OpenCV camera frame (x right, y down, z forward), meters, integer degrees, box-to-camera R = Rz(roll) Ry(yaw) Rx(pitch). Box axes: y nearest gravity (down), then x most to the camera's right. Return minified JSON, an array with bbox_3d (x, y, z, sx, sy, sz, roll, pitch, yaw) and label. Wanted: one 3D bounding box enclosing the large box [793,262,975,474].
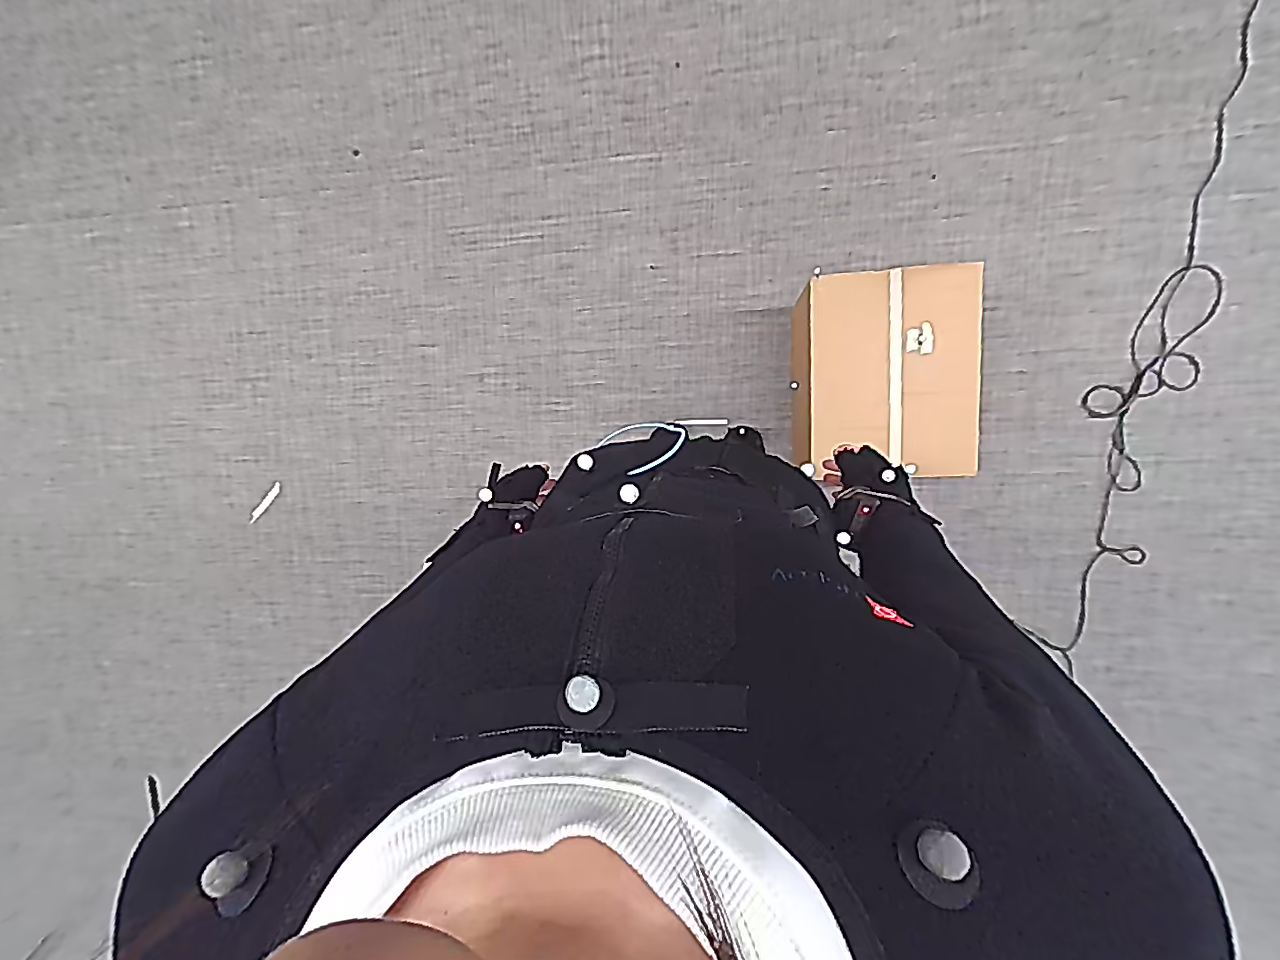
[{"bbox_3d":[0.521,-0.227,1.216,0.320,0.320,0.408,-1,95,8],"label":"large box"}]
